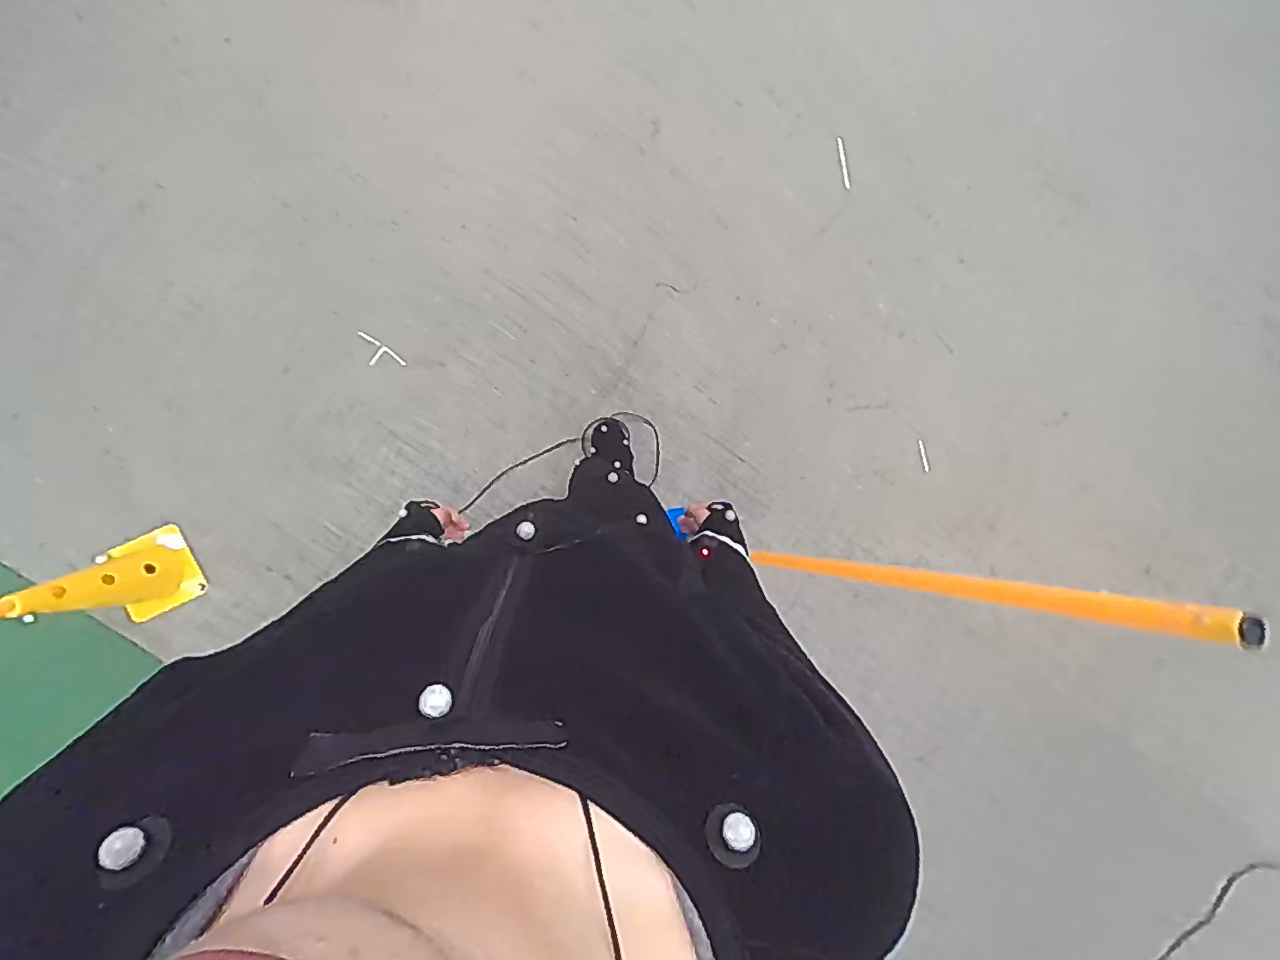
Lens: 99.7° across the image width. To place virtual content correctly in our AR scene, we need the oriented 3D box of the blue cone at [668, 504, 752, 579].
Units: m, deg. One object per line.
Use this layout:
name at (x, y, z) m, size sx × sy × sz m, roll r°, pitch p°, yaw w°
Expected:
blue cone at (0.199, 0.168, 1.355) m, size 0.193 × 0.380 × 0.192 m, roll -9°, pitch 91°, yaw -8°
